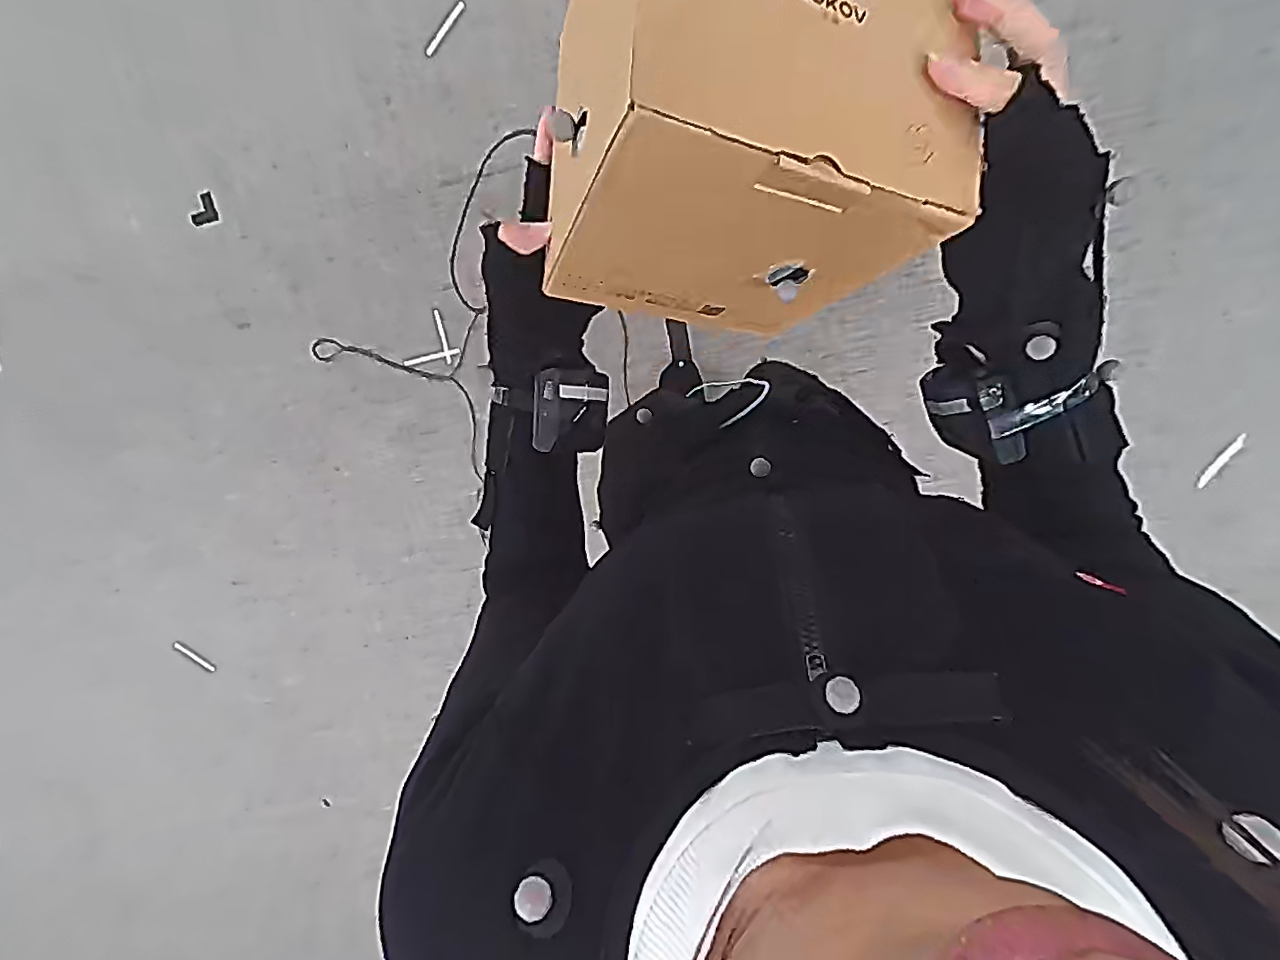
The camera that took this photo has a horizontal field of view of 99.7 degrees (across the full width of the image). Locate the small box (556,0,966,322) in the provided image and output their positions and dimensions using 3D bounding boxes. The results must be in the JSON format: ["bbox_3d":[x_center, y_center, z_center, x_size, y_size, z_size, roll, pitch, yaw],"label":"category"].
[{"bbox_3d":[0.050,-0.207,0.309,0.168,0.176,0.179,4,85,-19],"label":"small box"}]
